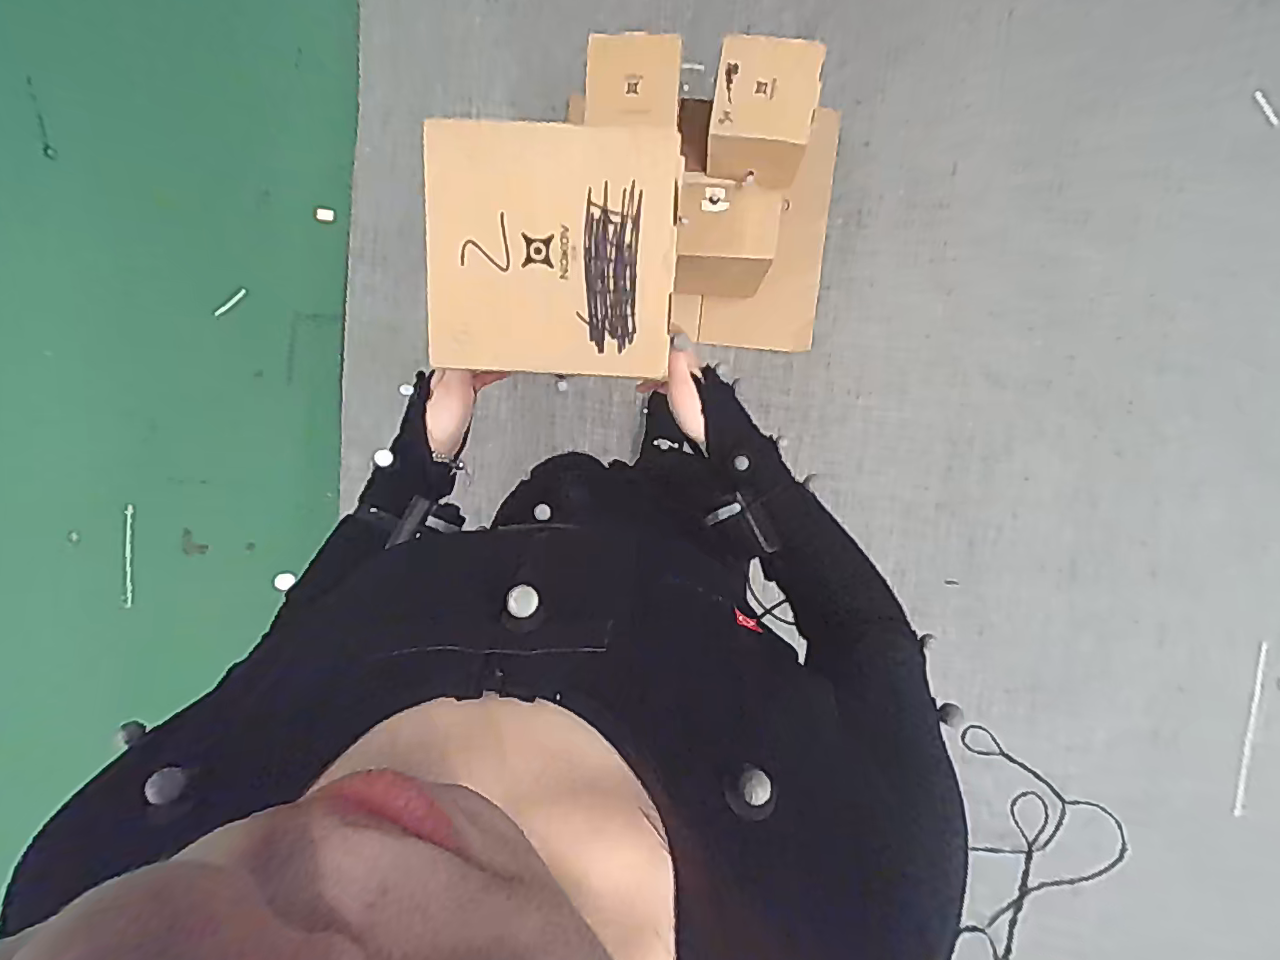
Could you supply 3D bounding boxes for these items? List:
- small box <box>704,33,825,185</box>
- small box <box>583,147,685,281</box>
[{"bbox_3d":[0.220,-0.672,1.002,0.179,0.176,0.168,10,96,4],"label":"small box"},{"bbox_3d":[-0.009,-0.500,1.037,0.168,0.176,0.179,7,98,3],"label":"small box"}]
